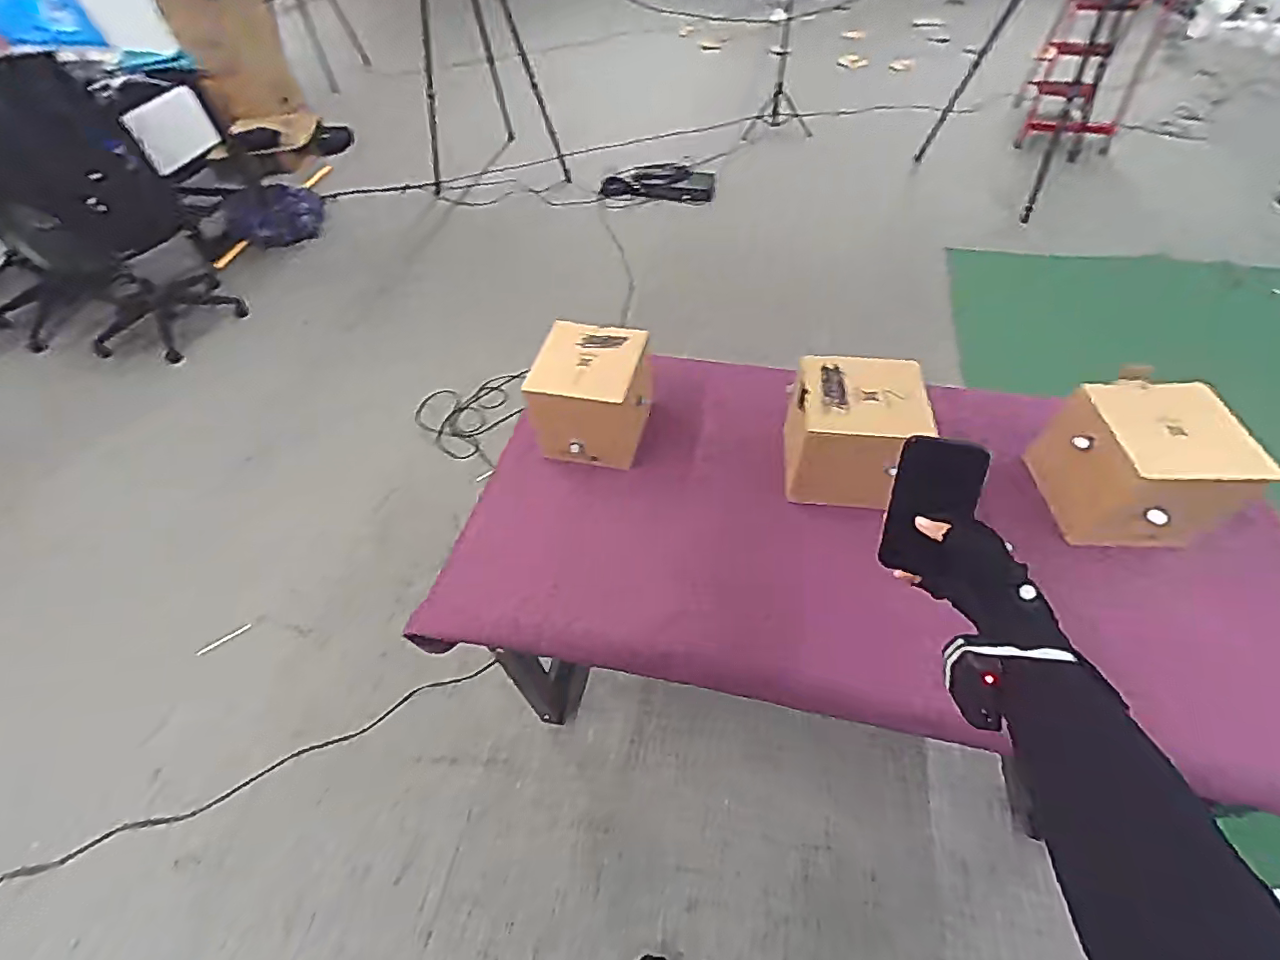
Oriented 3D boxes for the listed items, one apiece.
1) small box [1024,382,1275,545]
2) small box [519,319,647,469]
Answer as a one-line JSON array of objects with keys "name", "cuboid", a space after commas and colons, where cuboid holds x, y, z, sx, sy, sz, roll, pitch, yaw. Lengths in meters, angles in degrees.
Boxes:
[{"name": "small box", "cuboid": [0.705, -0.019, 0.779, 0.168, 0.176, 0.179, 0, 51, 4]}, {"name": "small box", "cuboid": [-0.086, -0.146, 0.927, 0.168, 0.176, 0.179, 9, 55, 11]}]
